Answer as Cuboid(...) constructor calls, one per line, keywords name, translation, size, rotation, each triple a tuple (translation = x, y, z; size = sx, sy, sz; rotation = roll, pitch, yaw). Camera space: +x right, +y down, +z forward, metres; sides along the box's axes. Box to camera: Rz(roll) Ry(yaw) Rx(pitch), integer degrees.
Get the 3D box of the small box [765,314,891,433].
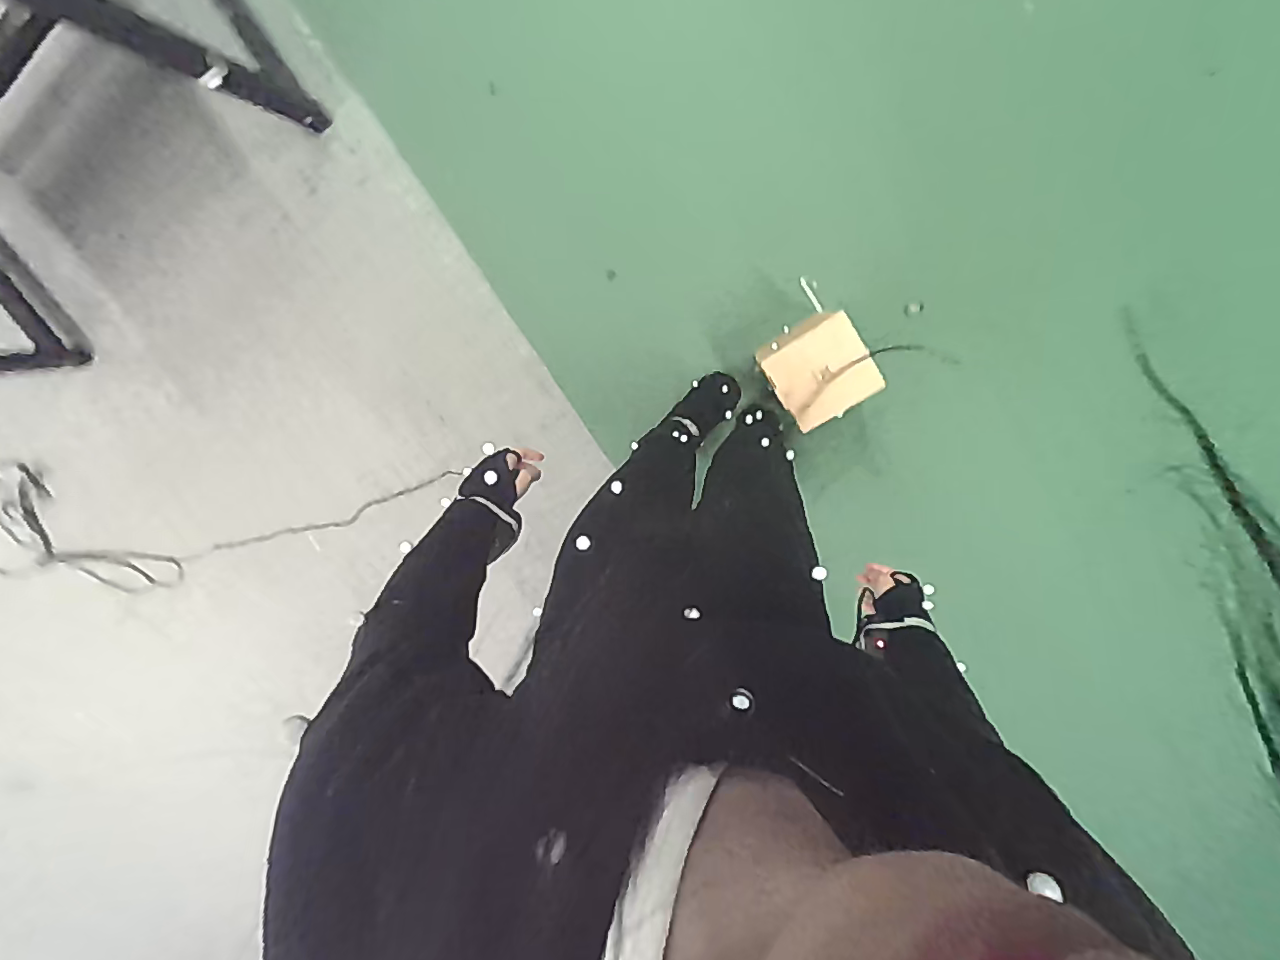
Cuboid(name="small box", translation=(0.371, -0.223, 1.102), size=(0.179, 0.176, 0.168), rotation=(-32, 99, 18))
